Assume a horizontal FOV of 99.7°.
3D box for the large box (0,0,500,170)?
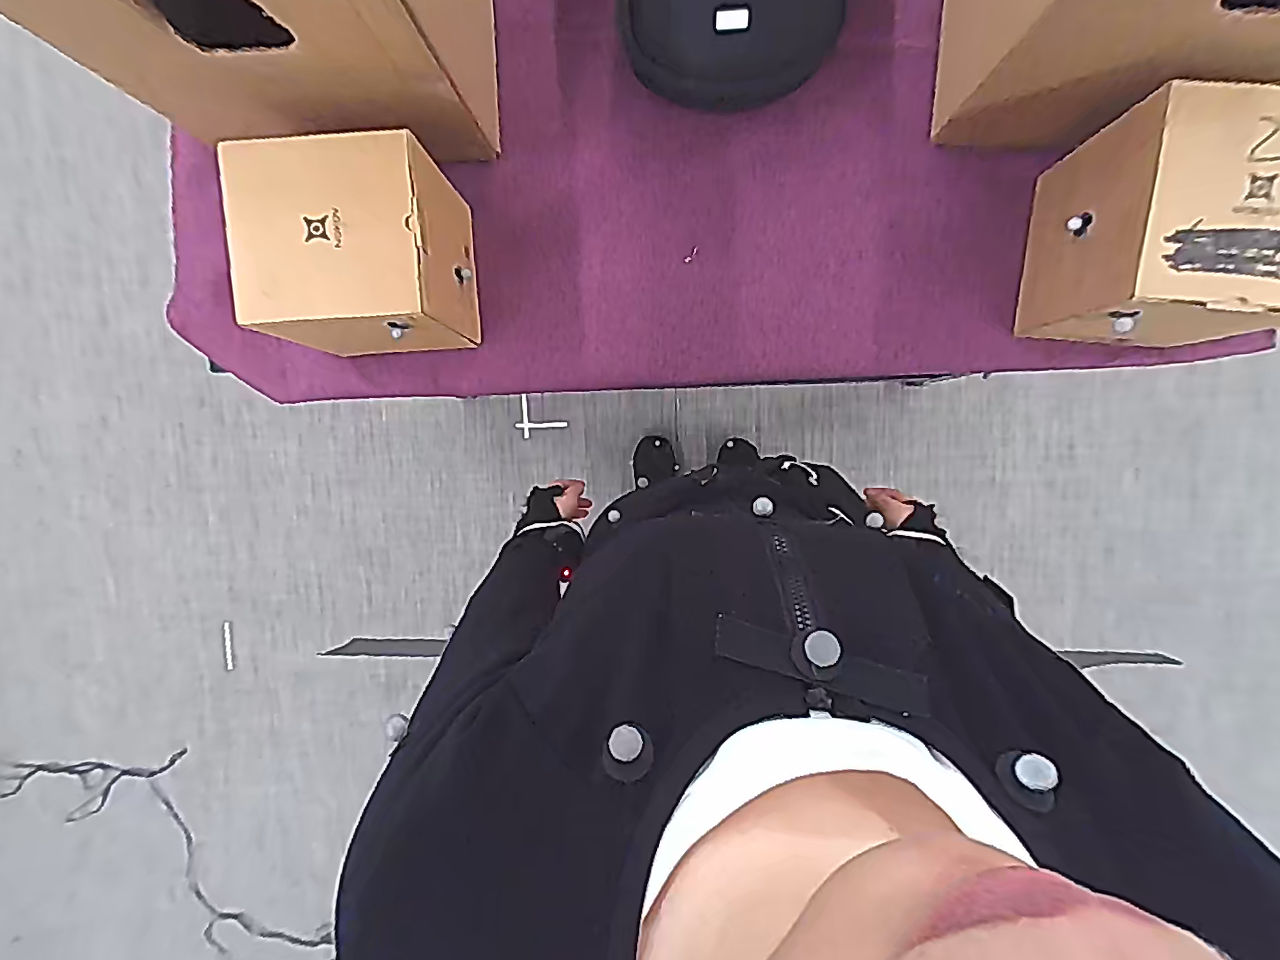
[{"bbox_3d":[-0.329,-0.561,0.485,0.320,0.320,0.408,-2,97,3],"label":"large box"}]
